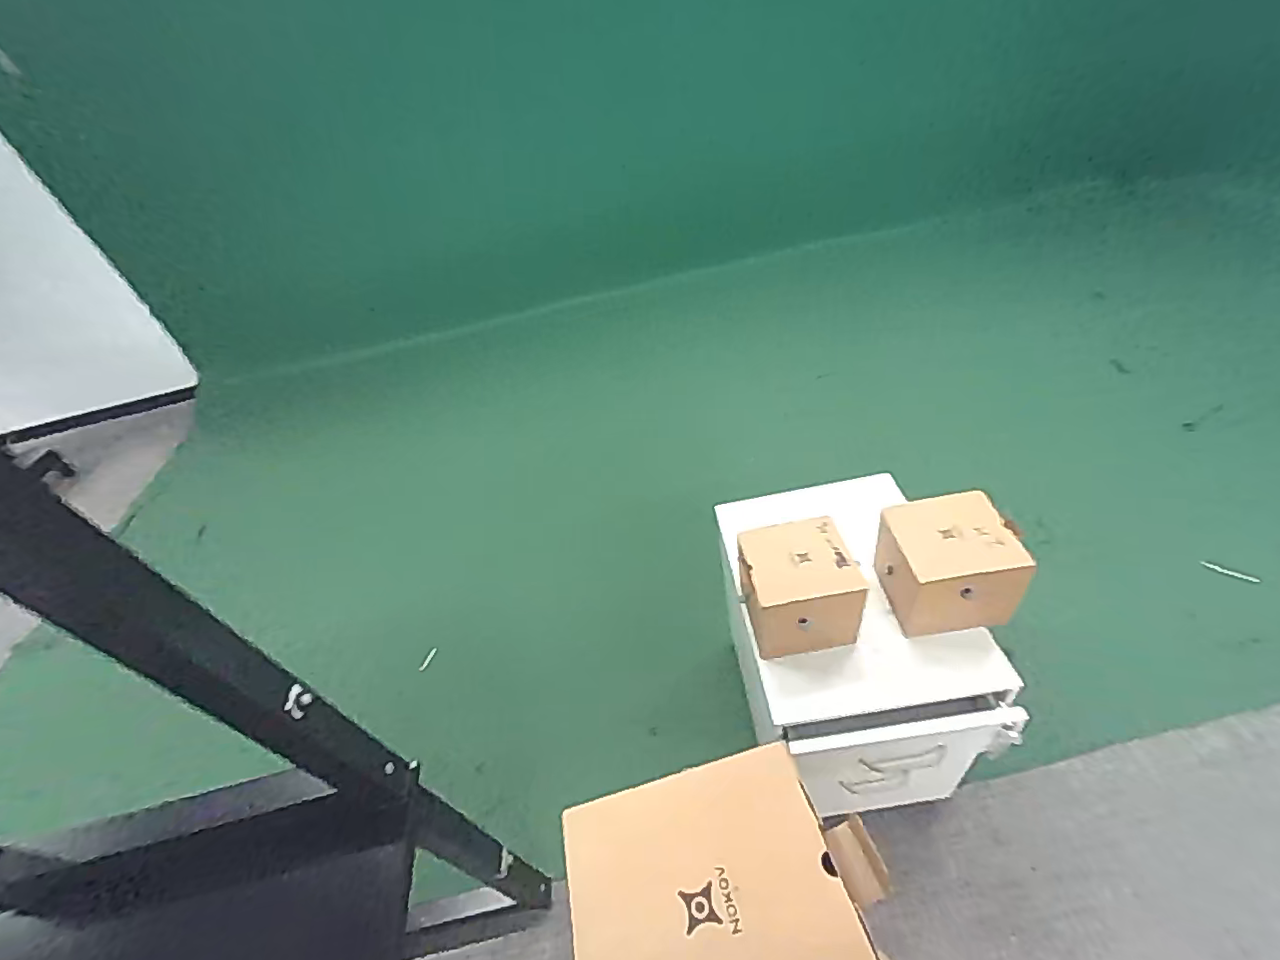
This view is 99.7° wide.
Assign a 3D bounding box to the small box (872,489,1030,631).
[{"bbox_3d":[0.515,0.142,0.930,0.179,0.176,0.168,-10,43,4],"label":"small box"}]

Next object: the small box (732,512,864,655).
[{"bbox_3d":[0.270,0.185,0.950,0.179,0.176,0.168,-11,42,2],"label":"small box"}]
